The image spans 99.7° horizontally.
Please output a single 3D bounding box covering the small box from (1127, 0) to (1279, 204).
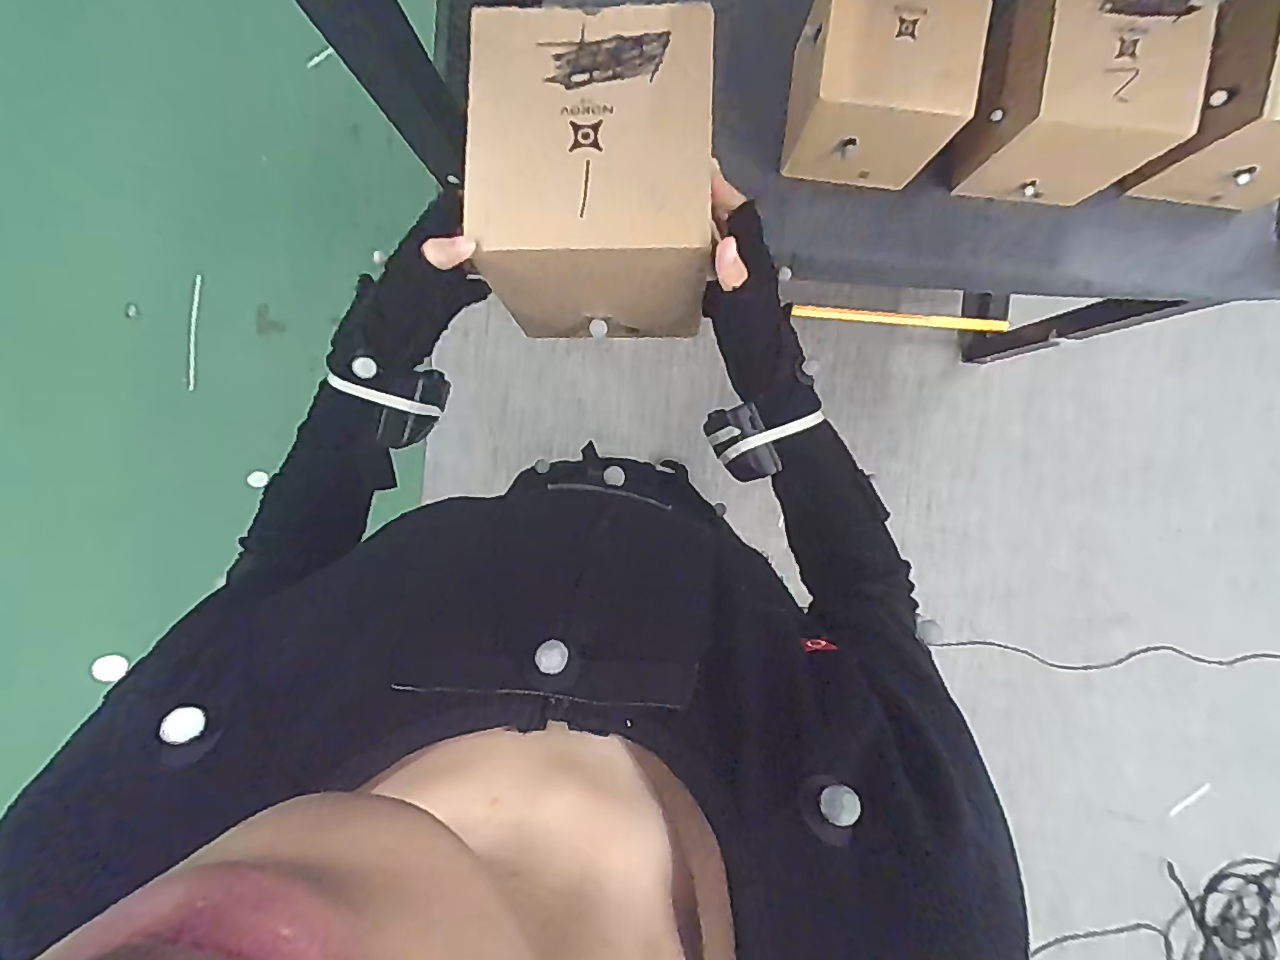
[{"bbox_3d":[0.728,-0.451,0.631,0.168,0.176,0.179,8,93,0],"label":"small box"}]

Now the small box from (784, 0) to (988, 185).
[{"bbox_3d":[0.277,-0.479,0.640,0.168,0.176,0.179,7,93,1],"label":"small box"}]
